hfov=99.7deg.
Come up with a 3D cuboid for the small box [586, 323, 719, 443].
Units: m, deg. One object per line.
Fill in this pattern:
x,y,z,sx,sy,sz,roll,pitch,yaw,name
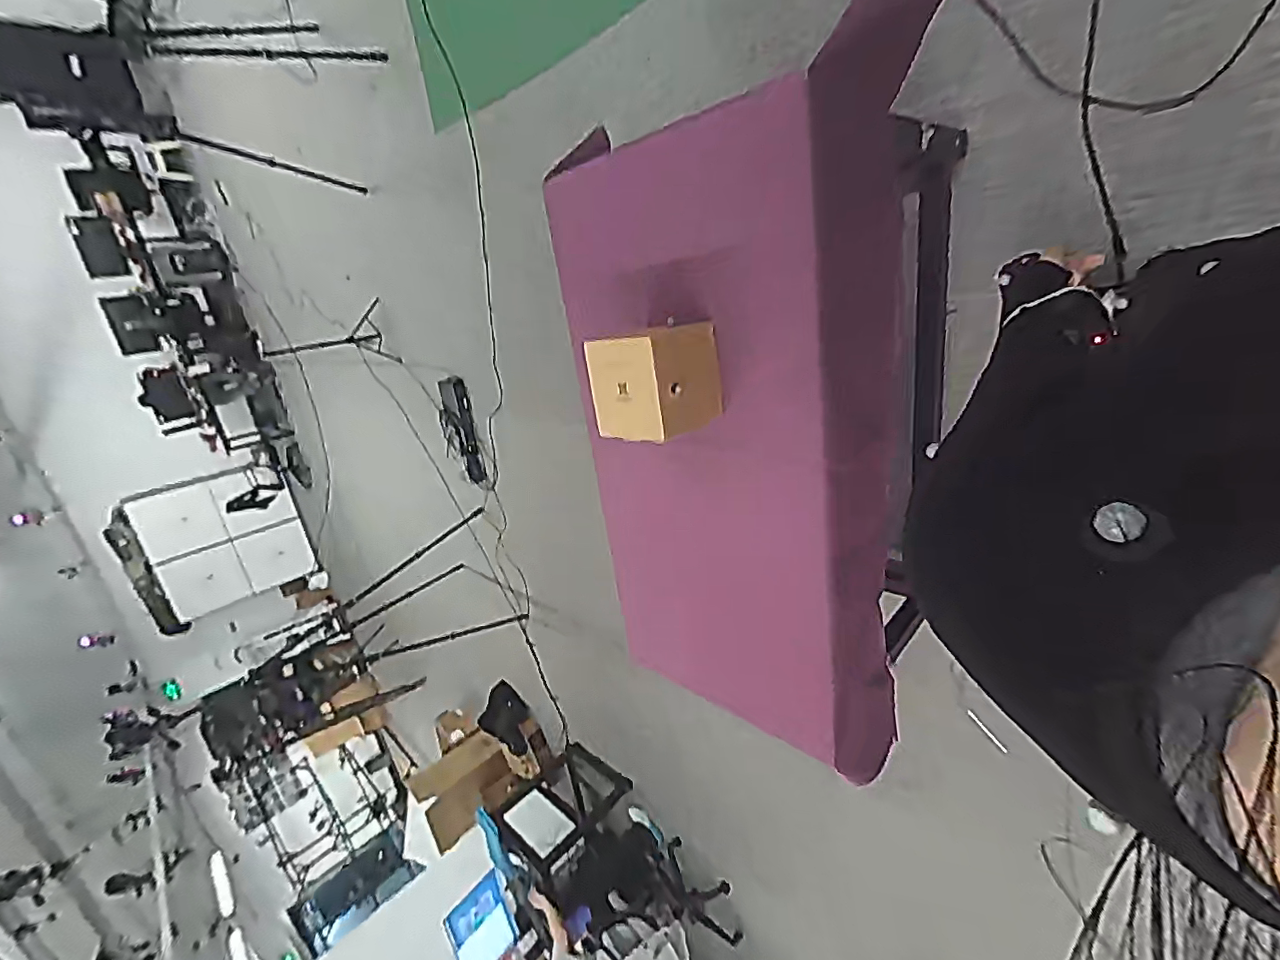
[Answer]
0.029,-0.179,0.978,0.168,0.176,0.179,11,116,44,small box
